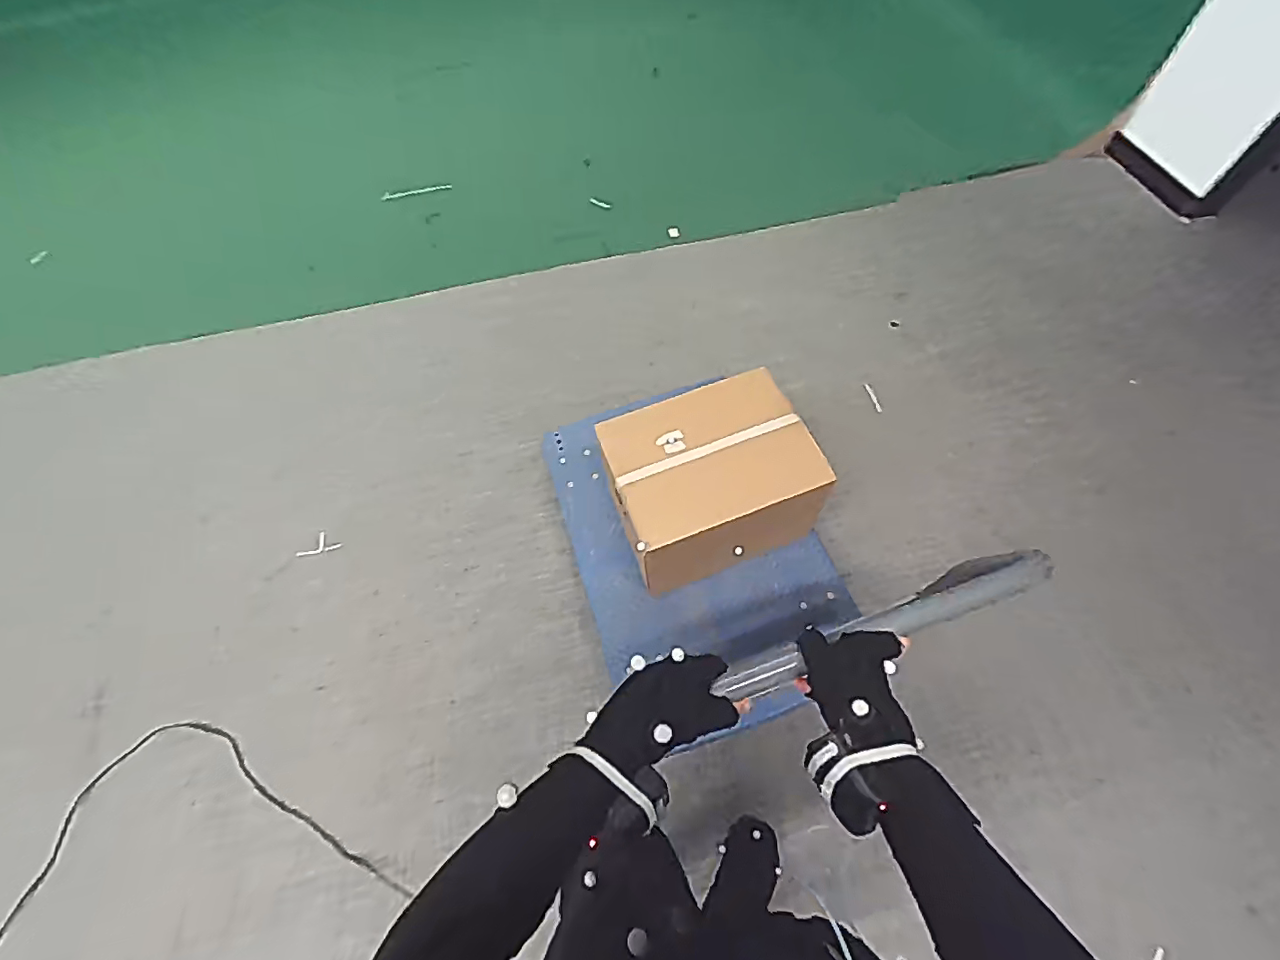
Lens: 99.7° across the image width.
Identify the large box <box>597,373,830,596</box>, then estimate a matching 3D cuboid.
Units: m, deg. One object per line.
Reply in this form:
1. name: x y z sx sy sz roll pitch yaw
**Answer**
1. large box: 0.156 0.020 1.250 0.408 0.320 0.320 -21 61 -6
